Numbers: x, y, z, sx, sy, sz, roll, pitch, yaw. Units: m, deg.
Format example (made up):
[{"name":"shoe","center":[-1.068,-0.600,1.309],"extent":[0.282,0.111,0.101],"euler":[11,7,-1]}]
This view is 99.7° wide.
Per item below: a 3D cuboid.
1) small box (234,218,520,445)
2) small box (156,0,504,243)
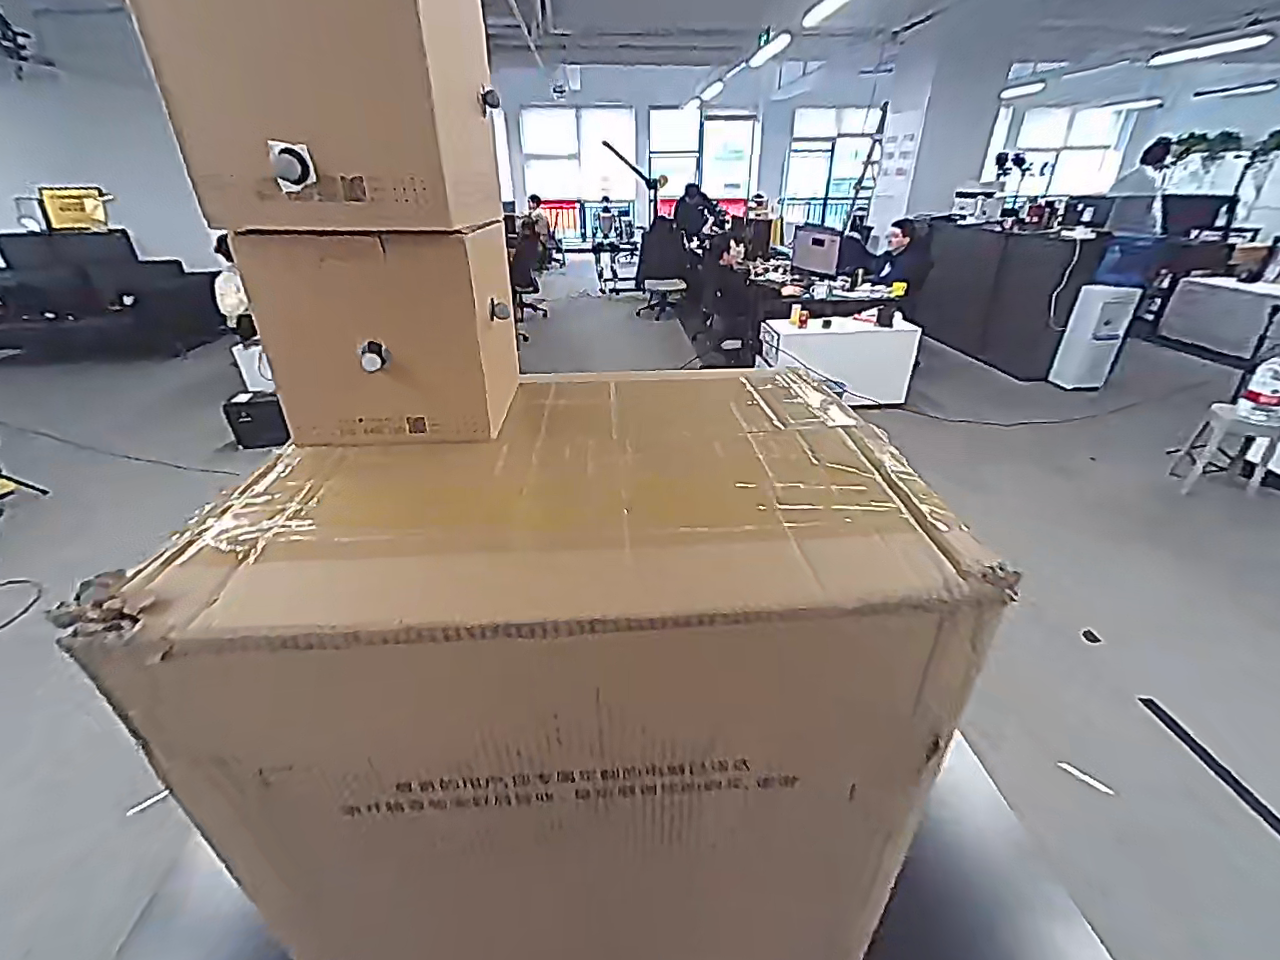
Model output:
[{"name":"small box","center":[-0.206,-0.138,0.489],"extent":[0.168,0.176,0.179],"euler":[-1,29,-4]},{"name":"small box","center":[-0.202,-0.274,0.397],"extent":[0.168,0.176,0.179],"euler":[-2,29,-2]}]
